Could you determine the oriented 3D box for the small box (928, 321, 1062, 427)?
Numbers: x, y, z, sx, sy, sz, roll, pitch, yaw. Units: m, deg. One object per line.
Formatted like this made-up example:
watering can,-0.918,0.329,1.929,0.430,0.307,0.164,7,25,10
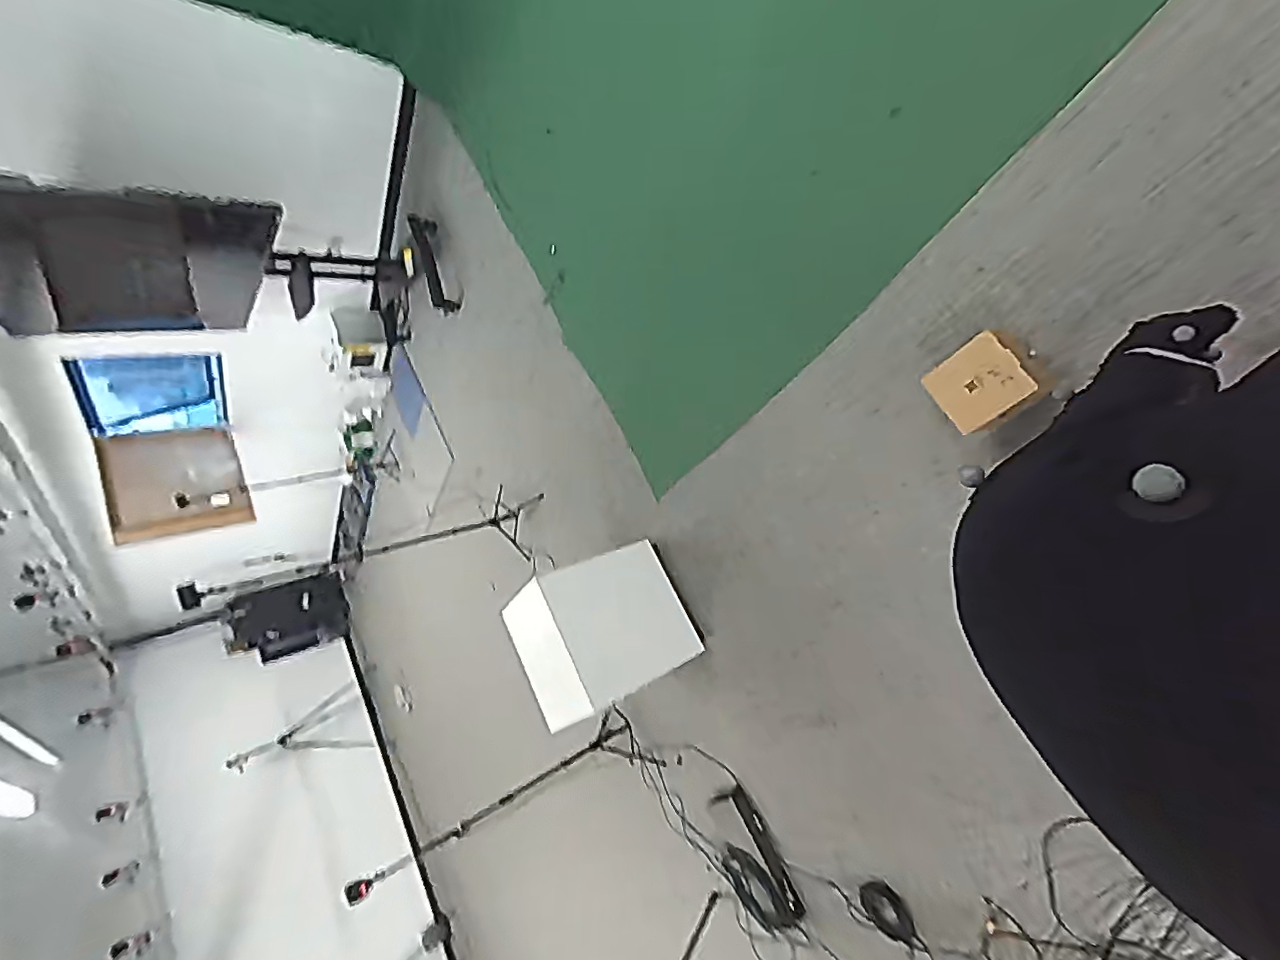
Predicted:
small box,0.815,-0.241,1.240,0.179,0.176,0.168,-48,64,44
